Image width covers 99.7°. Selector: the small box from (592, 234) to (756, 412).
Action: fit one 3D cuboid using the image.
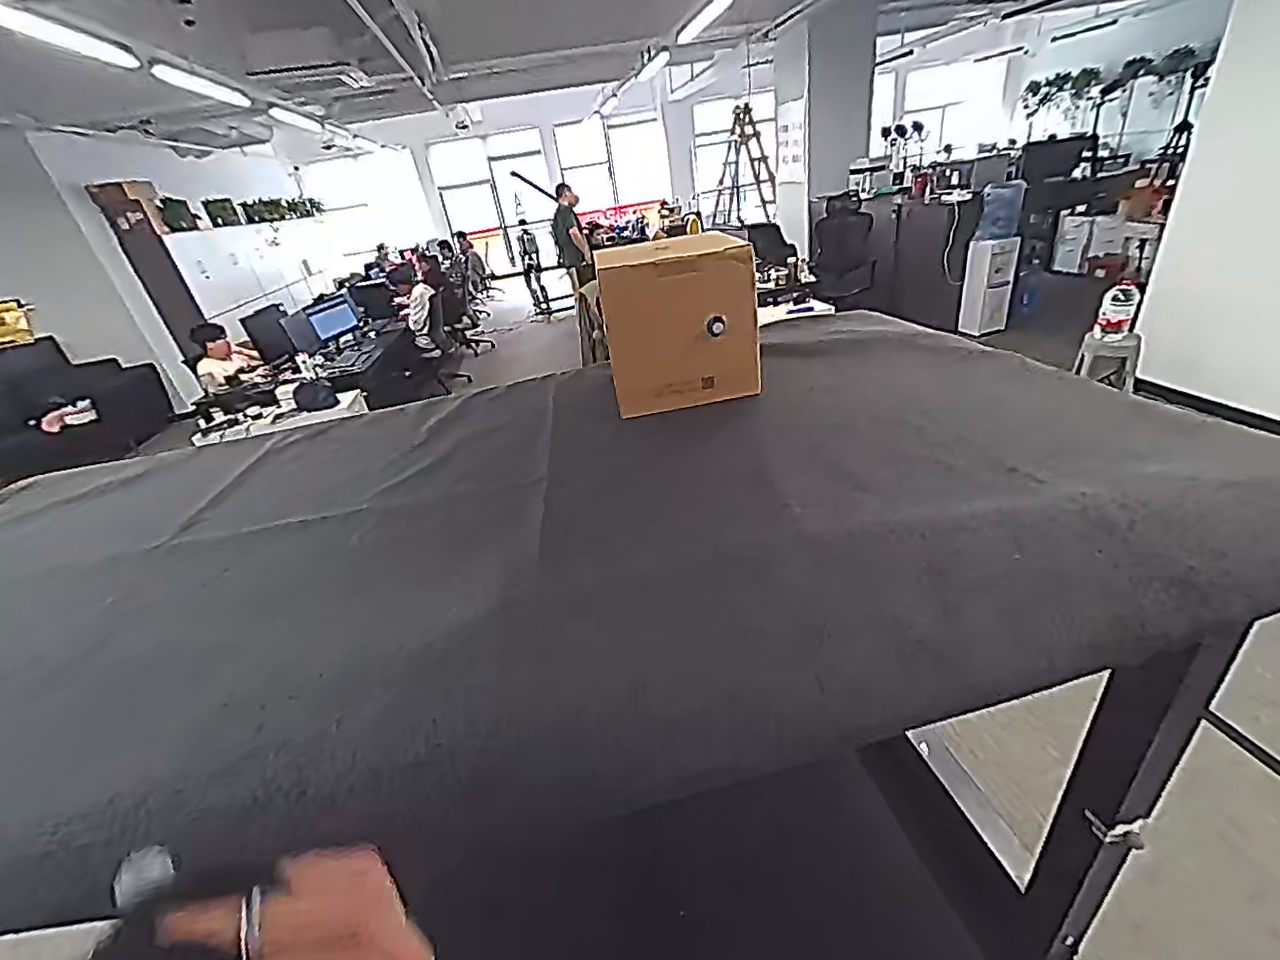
[{"bbox_3d":[0.039,-0.190,0.658,0.168,0.176,0.179,-10,29,-2],"label":"small box"}]
